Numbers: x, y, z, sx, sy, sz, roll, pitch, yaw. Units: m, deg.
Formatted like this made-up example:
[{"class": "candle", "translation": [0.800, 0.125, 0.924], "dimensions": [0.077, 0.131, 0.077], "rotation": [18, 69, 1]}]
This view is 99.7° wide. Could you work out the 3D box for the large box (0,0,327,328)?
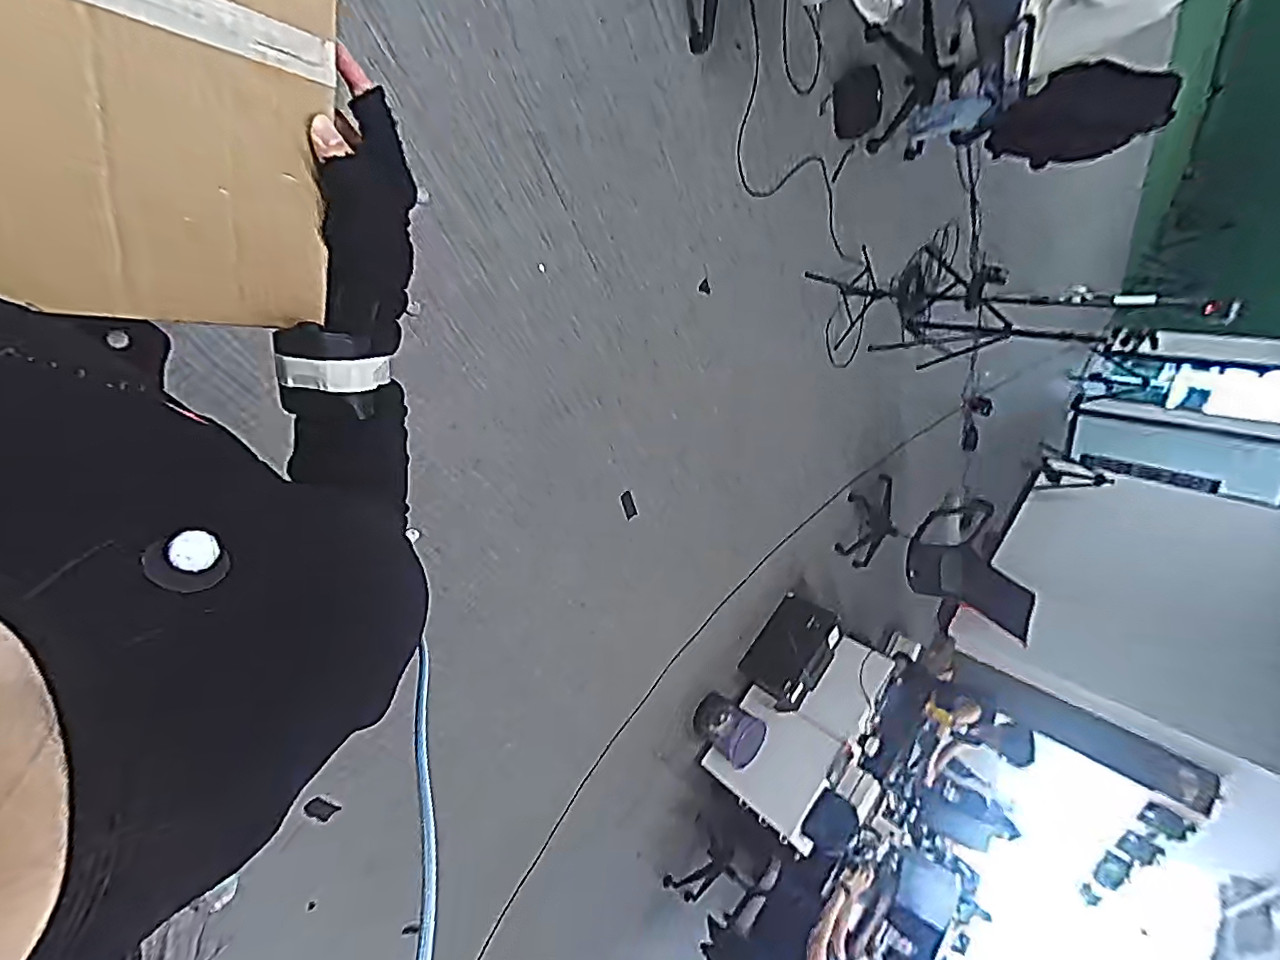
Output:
[{"class": "large box", "translation": [-0.425, -0.290, 0.271], "dimensions": [0.408, 0.320, 0.320], "rotation": [-10, 131, -43]}]
